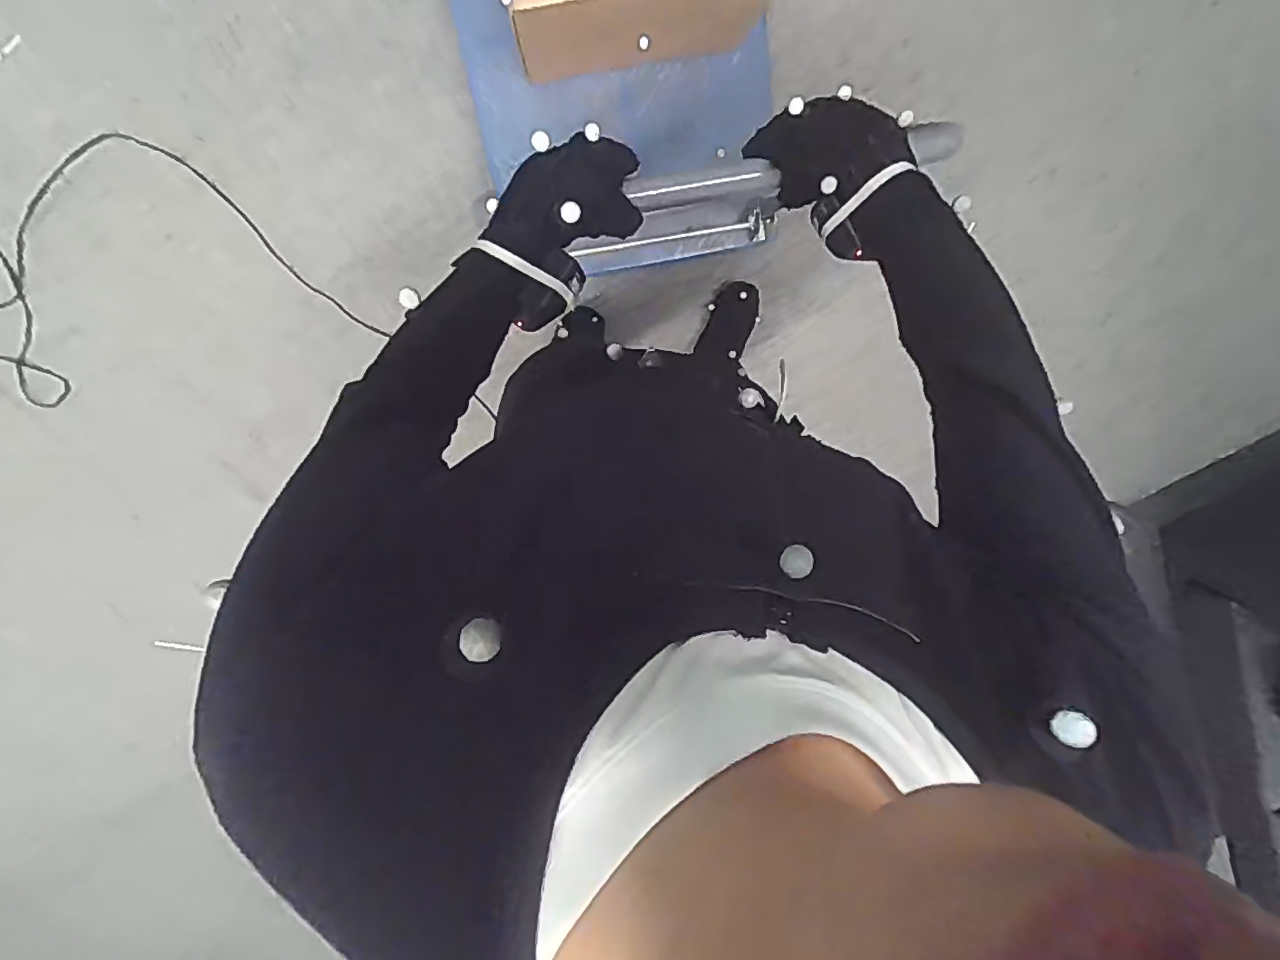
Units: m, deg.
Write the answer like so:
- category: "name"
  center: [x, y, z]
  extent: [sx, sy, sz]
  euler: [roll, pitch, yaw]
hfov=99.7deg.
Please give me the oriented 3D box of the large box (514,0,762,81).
- category: "large box"
  center: [-0.019, -0.885, 0.842]
  extent: [0.408, 0.320, 0.320]
  euler: [-12, 111, -1]
